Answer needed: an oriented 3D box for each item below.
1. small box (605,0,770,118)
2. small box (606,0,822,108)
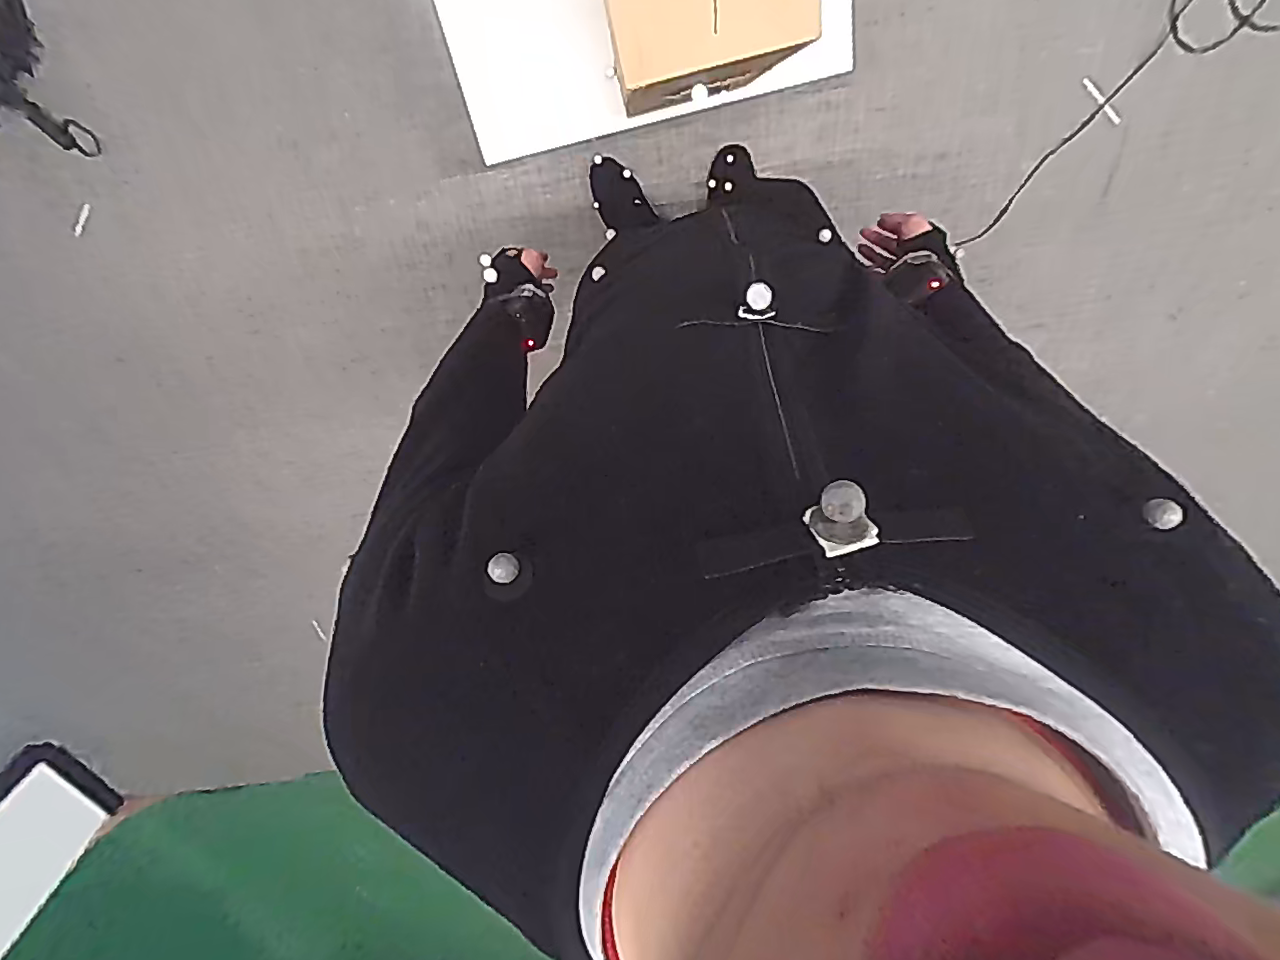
[{"bbox_3d":[0.047,-0.533,0.617,0.168,0.176,0.179,-12,119,5],"label":"small box"},{"bbox_3d":[0.050,-0.452,0.474,0.168,0.176,0.179,-10,121,5],"label":"small box"}]
